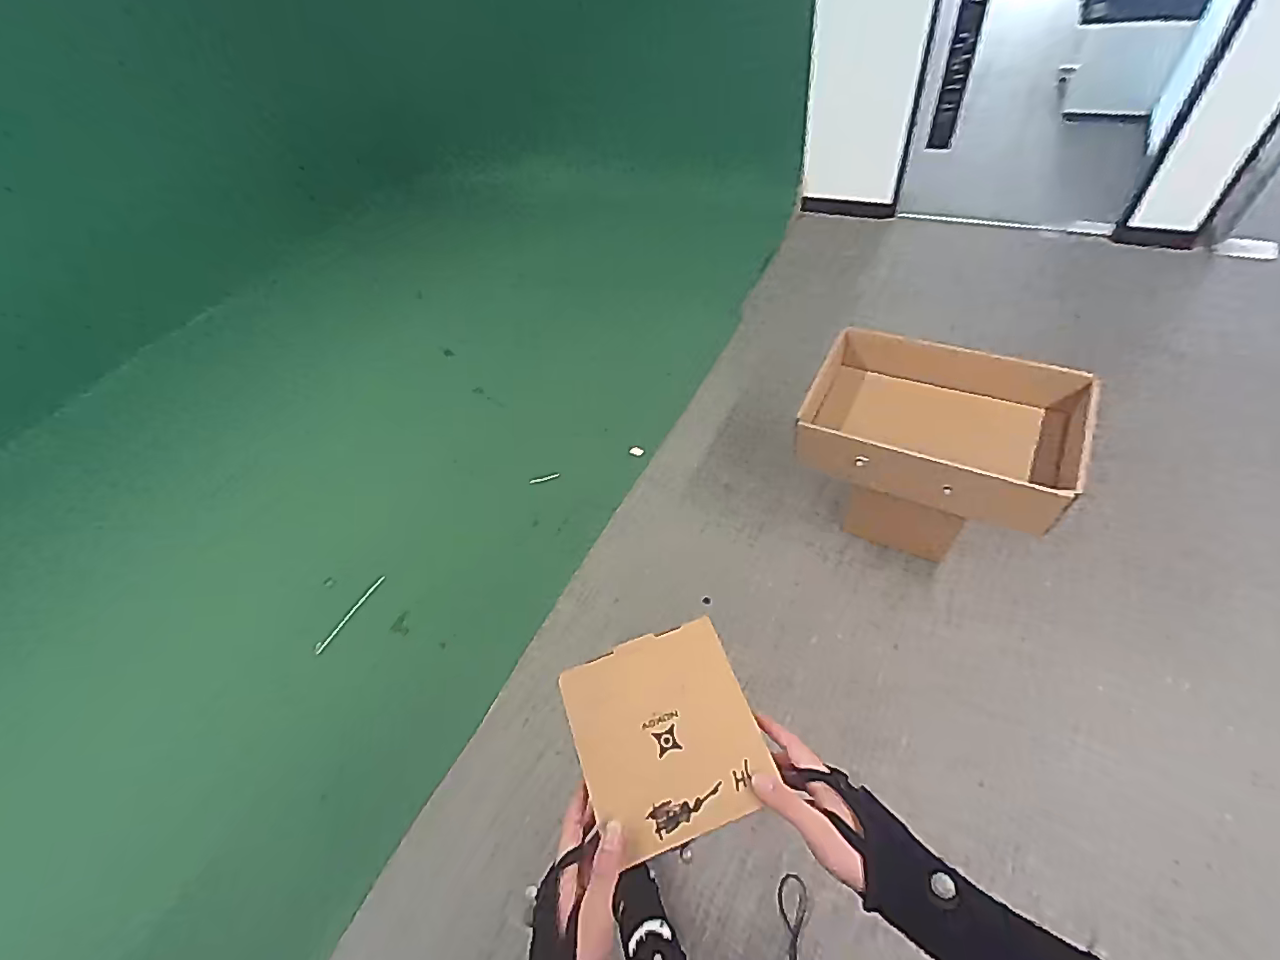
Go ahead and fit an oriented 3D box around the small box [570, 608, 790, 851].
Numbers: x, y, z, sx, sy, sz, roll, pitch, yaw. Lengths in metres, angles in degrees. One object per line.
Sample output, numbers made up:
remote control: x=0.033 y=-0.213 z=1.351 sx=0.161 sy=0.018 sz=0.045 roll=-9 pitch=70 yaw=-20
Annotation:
small box: x=0.036 y=0.266 z=0.573 sx=0.168 sy=0.176 sz=0.179 roll=-18 pitch=57 yaw=-5
